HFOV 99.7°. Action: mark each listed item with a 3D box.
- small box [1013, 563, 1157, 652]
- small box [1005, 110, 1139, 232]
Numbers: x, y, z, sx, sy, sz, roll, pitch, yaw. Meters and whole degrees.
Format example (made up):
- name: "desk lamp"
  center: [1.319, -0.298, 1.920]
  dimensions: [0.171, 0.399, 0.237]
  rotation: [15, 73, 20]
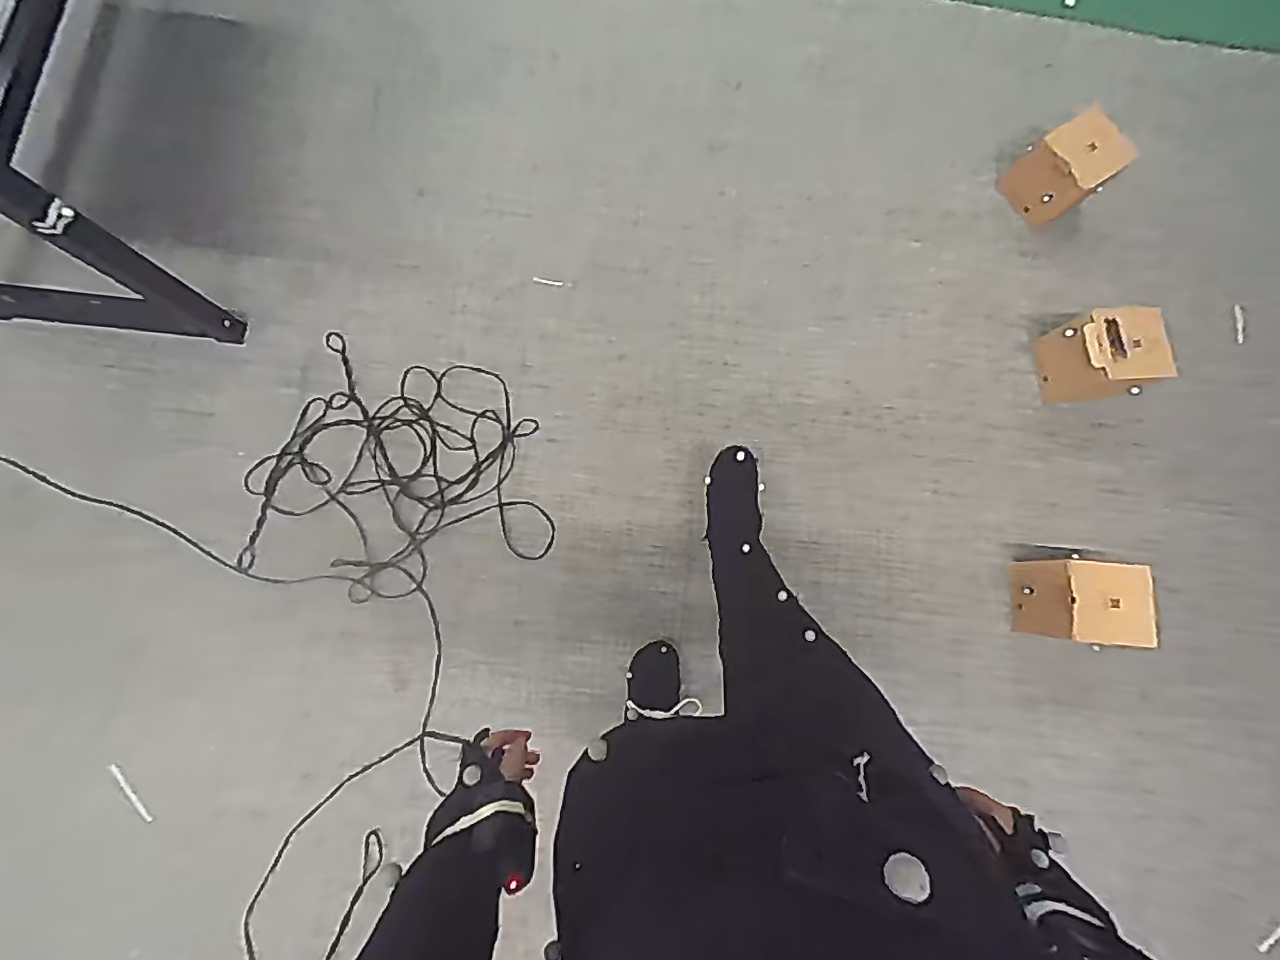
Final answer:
- name: "small box"
  center: [0.949, 0.268, 1.167]
  dimensions: [0.179, 0.176, 0.168]
  rotation: [5, 80, -2]
- name: "small box"
  center: [1.062, -0.763, 1.352]
  dimensions: [0.179, 0.176, 0.168]
  rotation: [-33, 85, -9]
